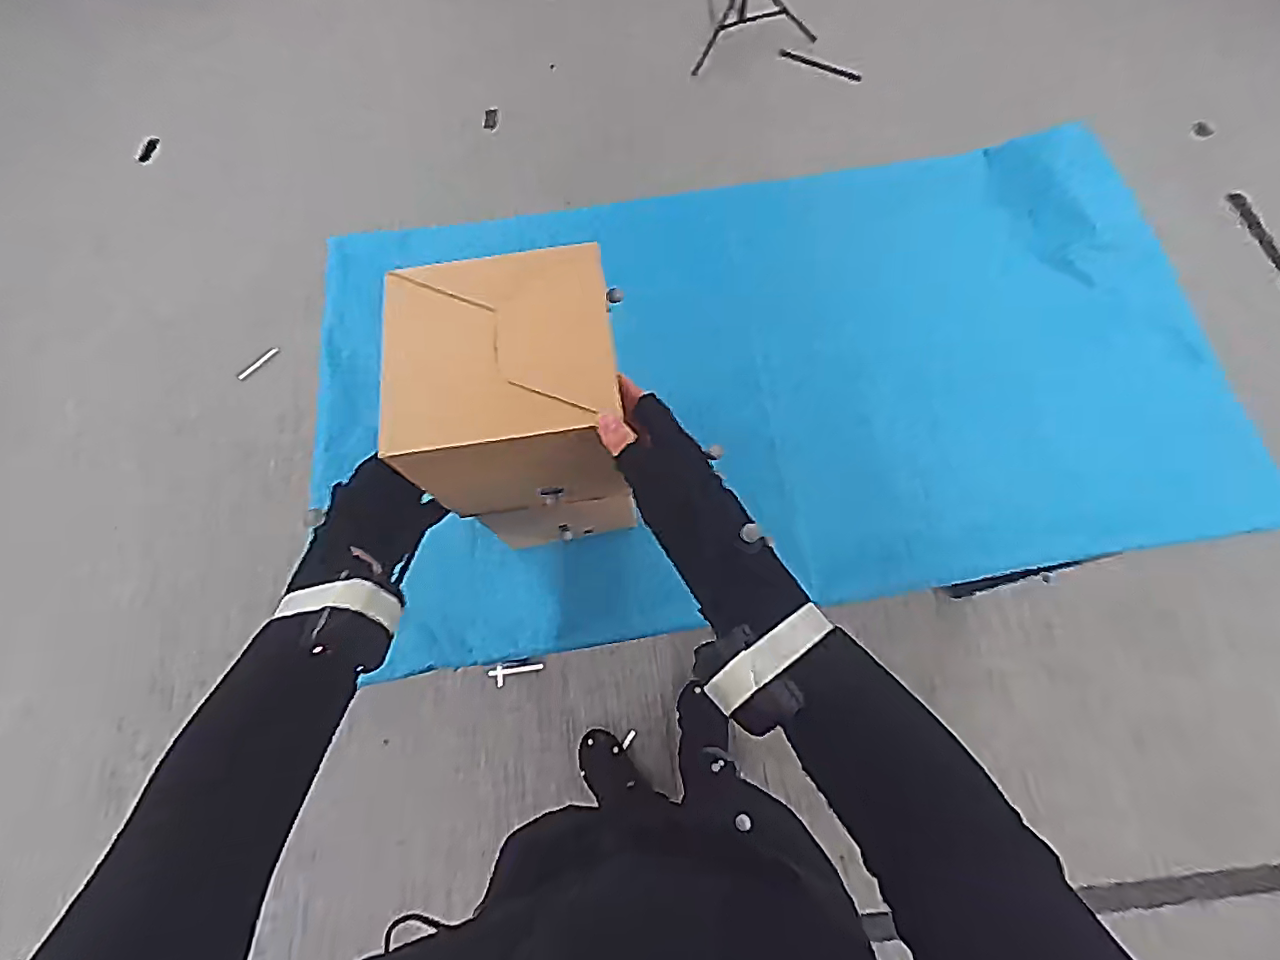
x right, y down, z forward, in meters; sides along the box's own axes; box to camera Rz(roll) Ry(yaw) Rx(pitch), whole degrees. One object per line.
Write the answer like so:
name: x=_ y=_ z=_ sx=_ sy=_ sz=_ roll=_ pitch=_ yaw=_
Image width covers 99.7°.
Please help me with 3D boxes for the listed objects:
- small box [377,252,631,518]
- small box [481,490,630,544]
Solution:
small box: x=-0.109 y=-0.076 z=0.486 sx=0.179 sy=0.176 sz=0.168 roll=-8 pitch=70 yaw=0
small box: x=-0.105 y=-0.032 z=0.647 sx=0.168 sy=0.176 sz=0.179 roll=-7 pitch=72 yaw=2
